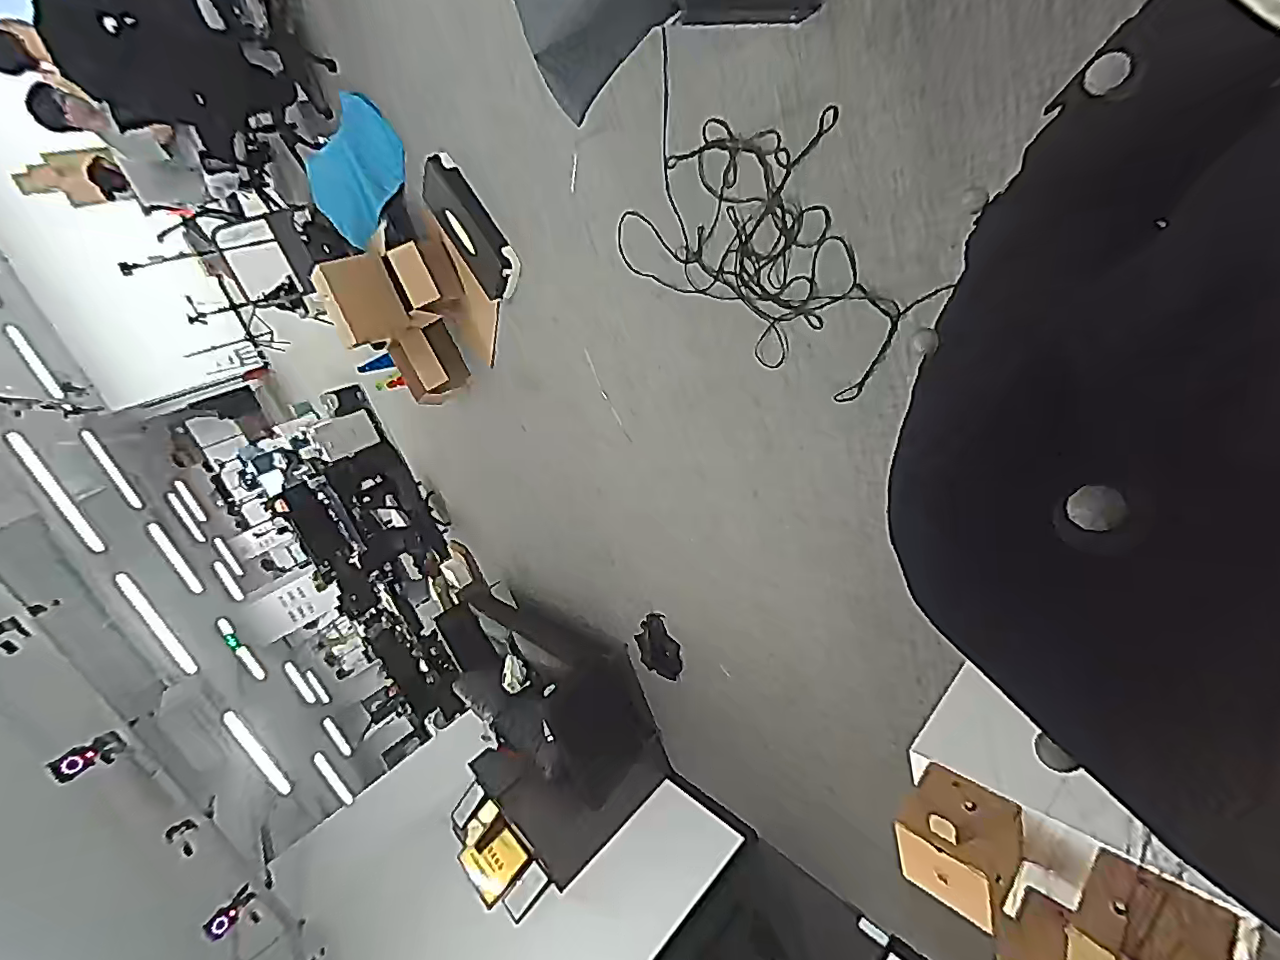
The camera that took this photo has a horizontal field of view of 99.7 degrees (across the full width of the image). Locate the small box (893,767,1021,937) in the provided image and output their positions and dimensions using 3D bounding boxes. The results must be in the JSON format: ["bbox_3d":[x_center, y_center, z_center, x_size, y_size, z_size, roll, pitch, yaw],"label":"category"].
[{"bbox_3d":[0.624,0.715,1.058,0.168,0.176,0.179,11,125,50],"label":"small box"}]

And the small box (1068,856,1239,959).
[{"bbox_3d":[0.797,0.749,0.846,0.168,0.176,0.179,12,128,52],"label":"small box"}]
